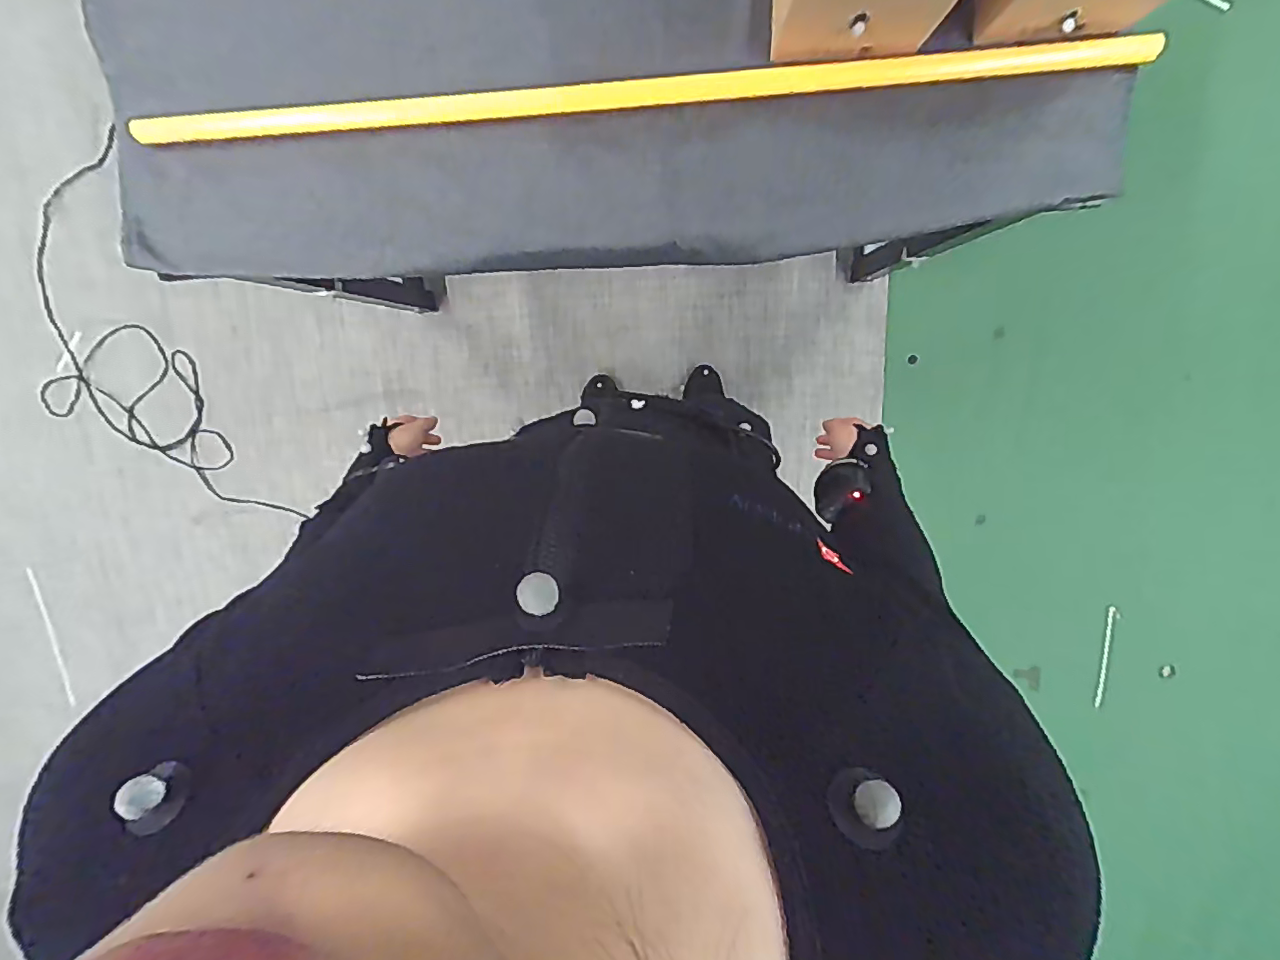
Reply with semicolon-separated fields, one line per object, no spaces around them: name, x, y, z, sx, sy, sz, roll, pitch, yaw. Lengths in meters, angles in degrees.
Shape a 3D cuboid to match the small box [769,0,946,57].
small box;0.225;-0.553;0.532;0.168;0.176;0.179;0;102;2
